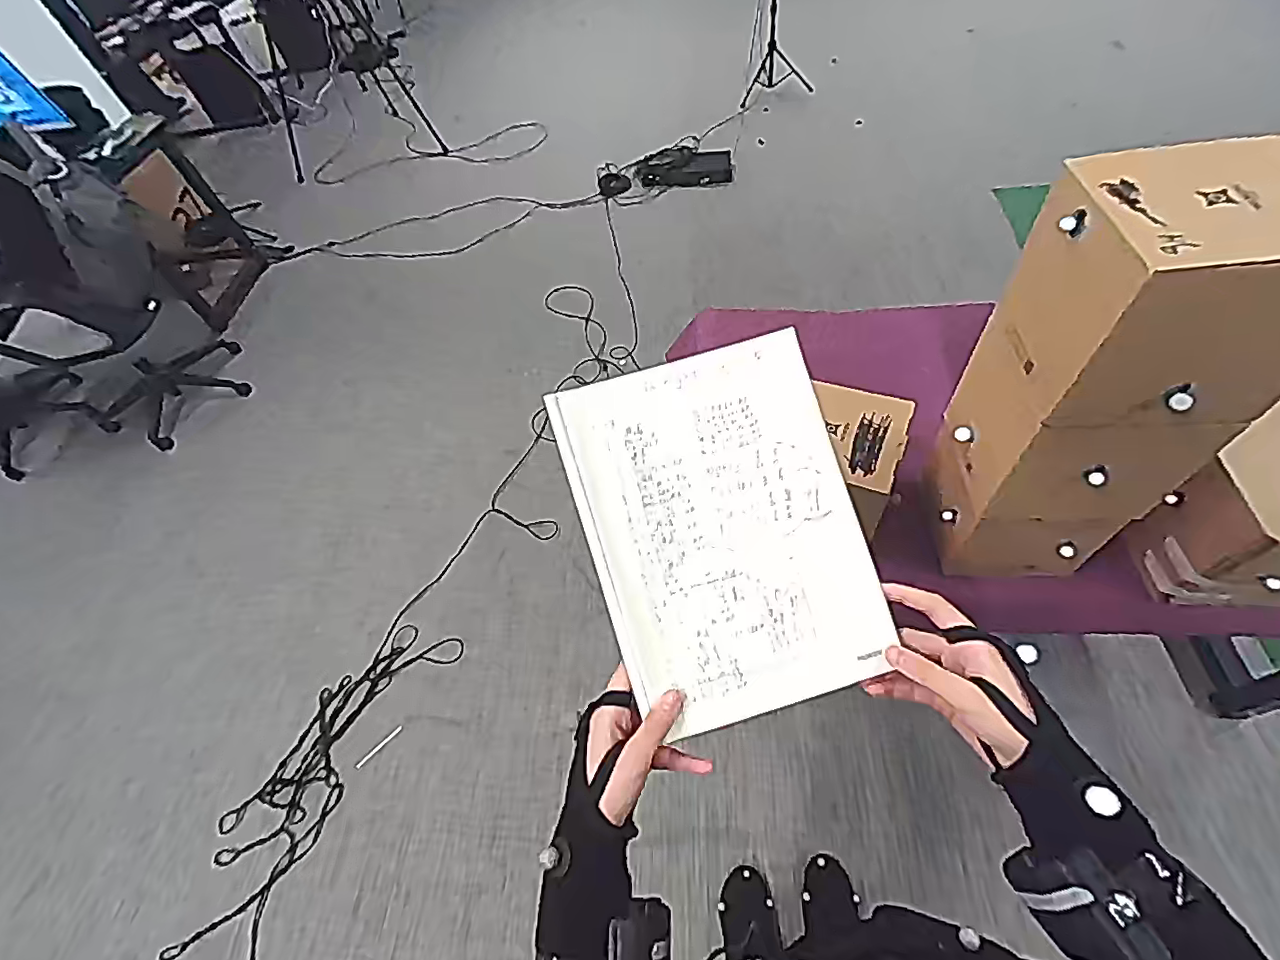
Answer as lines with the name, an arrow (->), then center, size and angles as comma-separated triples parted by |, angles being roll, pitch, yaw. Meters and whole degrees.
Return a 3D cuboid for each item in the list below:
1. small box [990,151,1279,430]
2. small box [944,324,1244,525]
small box -> 0.452, -0.157, 0.475 | 0.179, 0.176, 0.168 | -1, 53, 8
small box -> 0.475, -0.061, 0.606 | 0.179, 0.176, 0.168 | -1, 53, 9
